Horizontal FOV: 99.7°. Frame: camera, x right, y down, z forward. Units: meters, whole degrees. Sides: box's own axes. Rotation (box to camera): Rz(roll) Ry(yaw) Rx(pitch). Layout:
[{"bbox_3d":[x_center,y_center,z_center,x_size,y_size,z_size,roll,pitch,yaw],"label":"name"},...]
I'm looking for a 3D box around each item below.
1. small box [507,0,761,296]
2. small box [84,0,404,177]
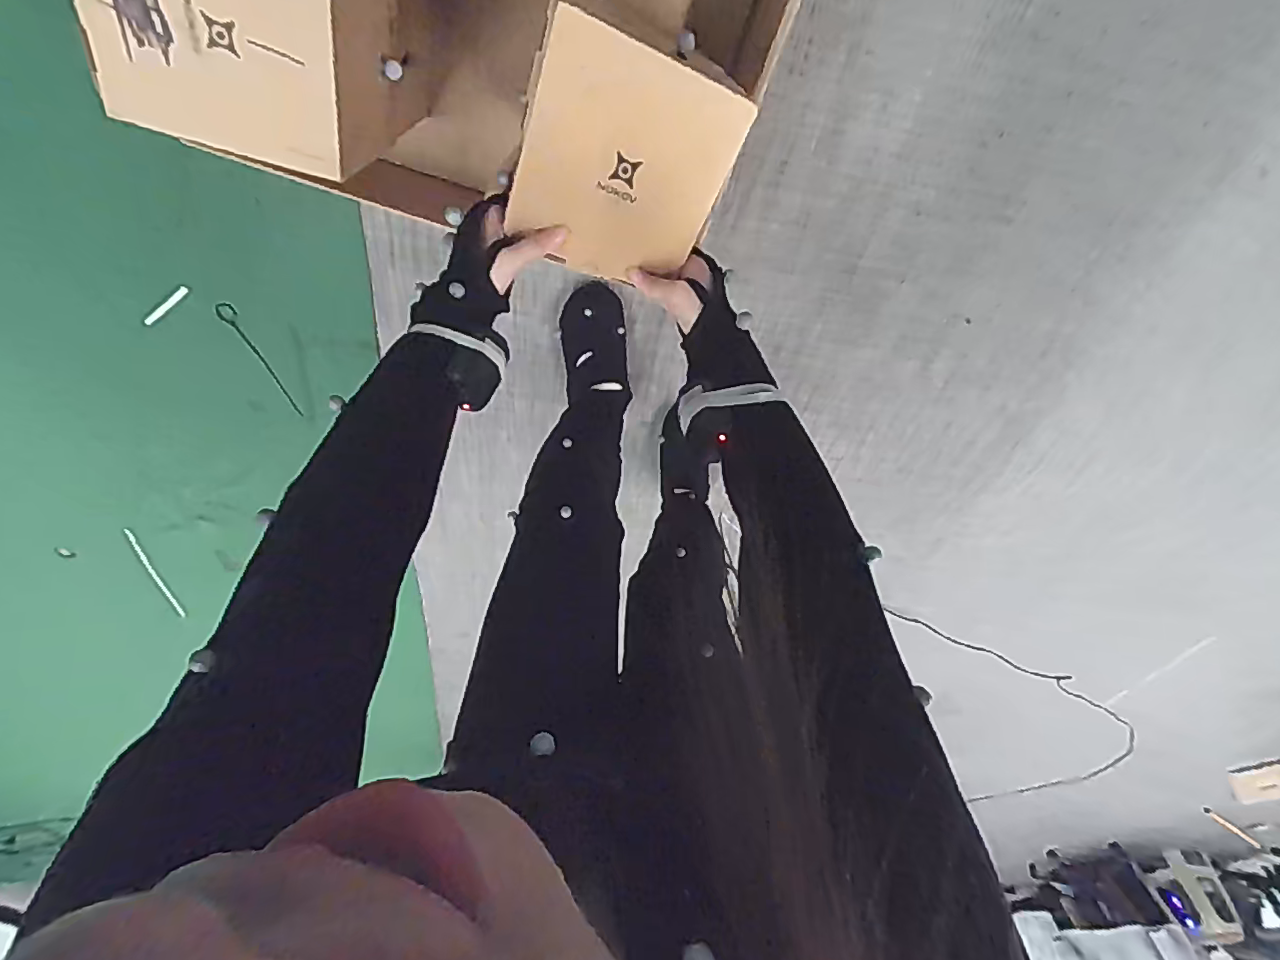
[{"bbox_3d":[-0.018,-0.314,0.507,0.168,0.176,0.179,14,134,-21],"label":"small box"},{"bbox_3d":[-0.315,-0.388,0.456,0.179,0.176,0.168,11,131,-14],"label":"small box"}]
